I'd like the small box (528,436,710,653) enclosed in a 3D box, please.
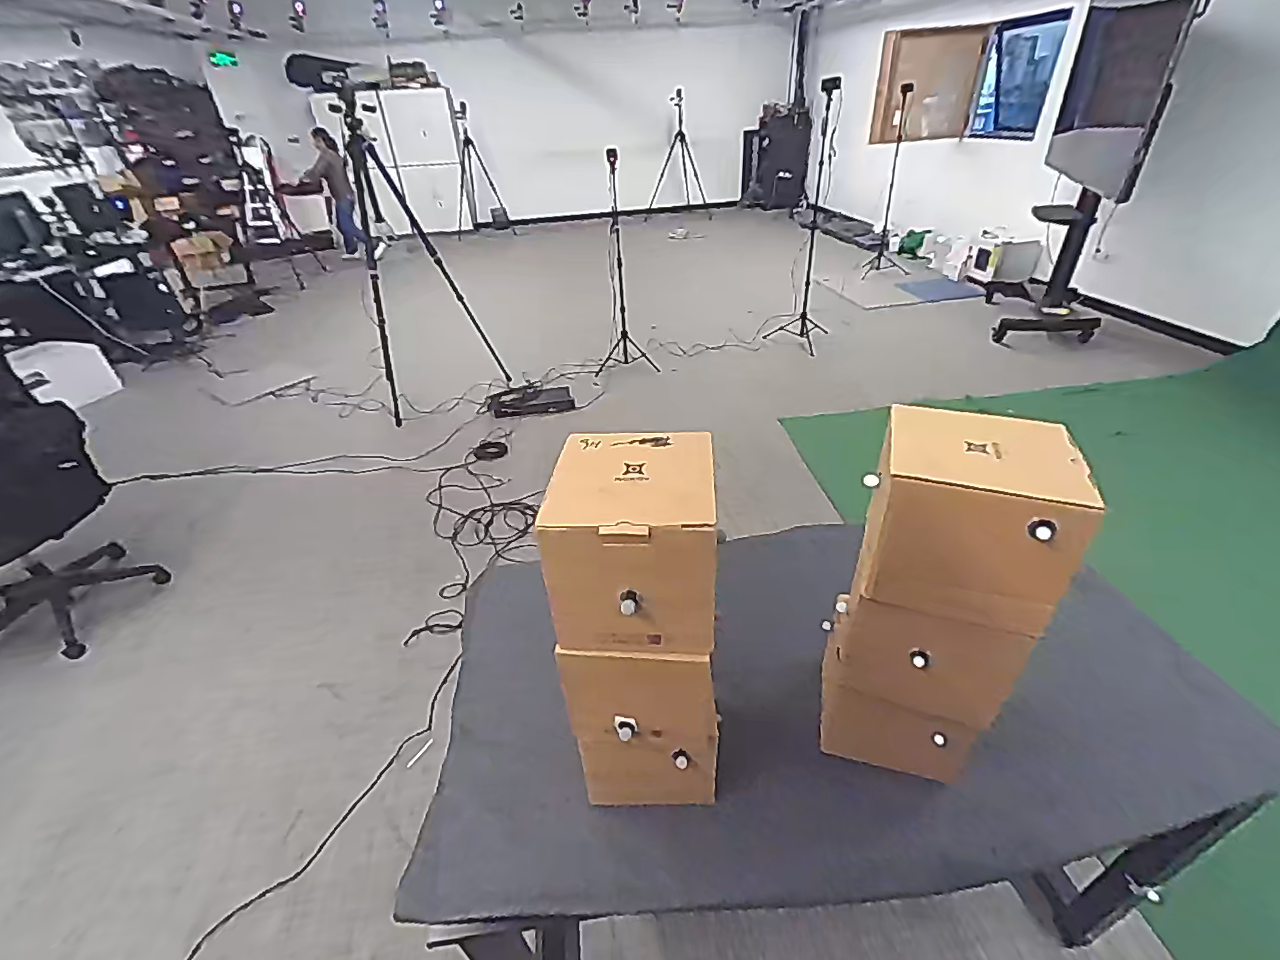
[{"bbox_3d":[-0.008,0.068,0.588,0.168,0.176,0.179,0,34,6],"label":"small box"}]

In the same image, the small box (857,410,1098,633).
[{"bbox_3d":[0.345,0.041,0.594,0.179,0.176,0.168,11,36,19],"label":"small box"}]

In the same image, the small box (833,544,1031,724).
[{"bbox_3d":[0.356,0.176,0.684,0.179,0.176,0.168,11,36,21],"label":"small box"}]

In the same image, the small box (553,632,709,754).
[{"bbox_3d":[0.001,0.208,0.674,0.168,0.176,0.179,0,35,7],"label":"small box"}]

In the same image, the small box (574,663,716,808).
[{"bbox_3d":[0.011,0.341,0.767,0.179,0.176,0.168,-2,33,2],"label":"small box"}]
